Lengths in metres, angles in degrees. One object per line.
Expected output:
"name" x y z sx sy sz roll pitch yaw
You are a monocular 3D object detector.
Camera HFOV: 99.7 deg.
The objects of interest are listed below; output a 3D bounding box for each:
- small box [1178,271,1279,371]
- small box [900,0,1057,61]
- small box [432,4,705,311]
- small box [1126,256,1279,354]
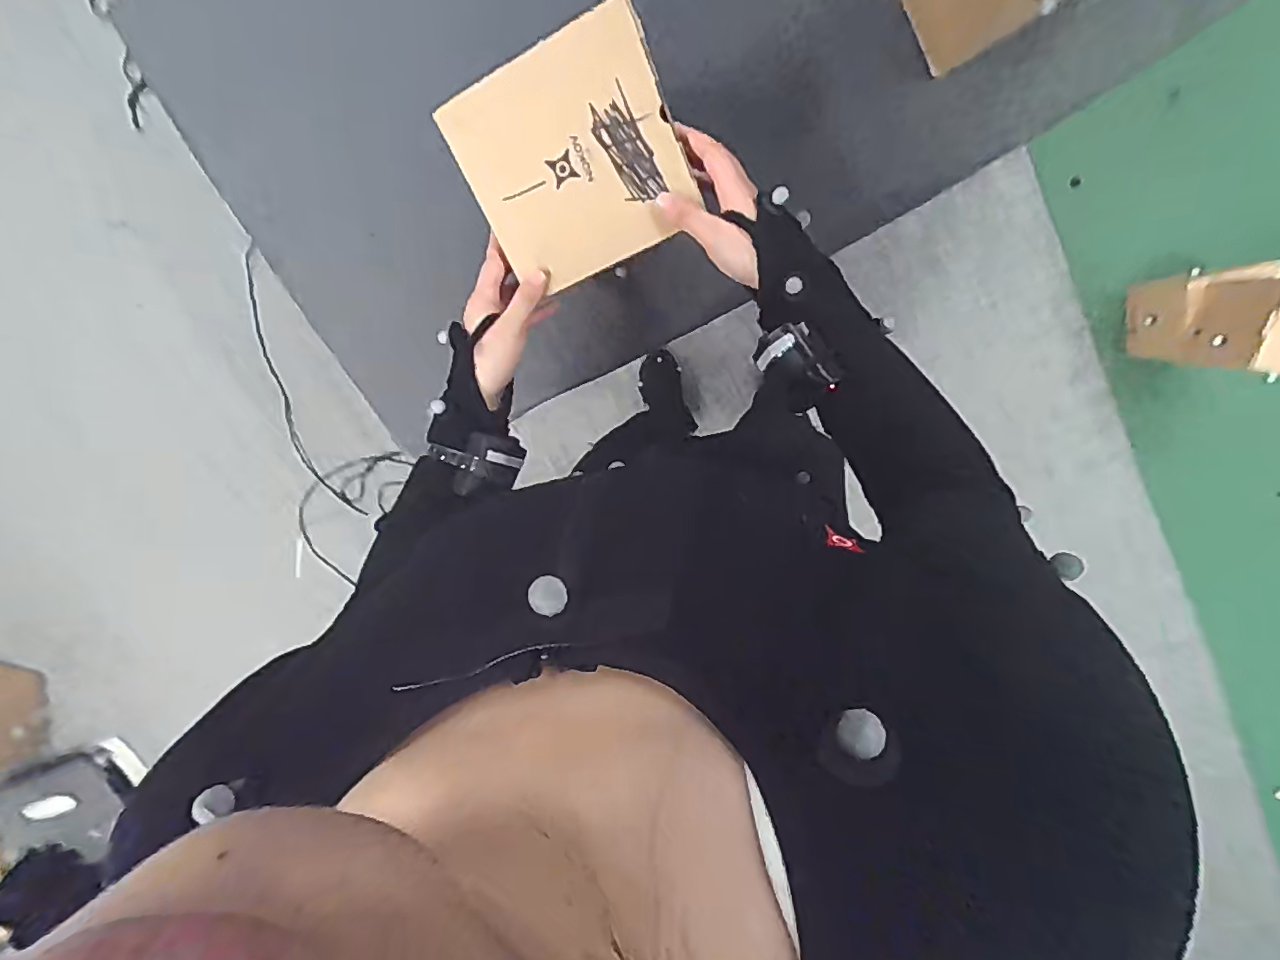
"small box" 1.212 -0.299 1.036 0.179 0.176 0.168 8 109 2
"small box" 0.328 -0.508 0.461 0.168 0.176 0.179 -28 101 13
"small box" -0.050 -0.284 0.506 0.179 0.176 0.168 -20 114 15
"small box" 1.216 -0.376 1.183 0.179 0.176 0.168 -12 106 9
